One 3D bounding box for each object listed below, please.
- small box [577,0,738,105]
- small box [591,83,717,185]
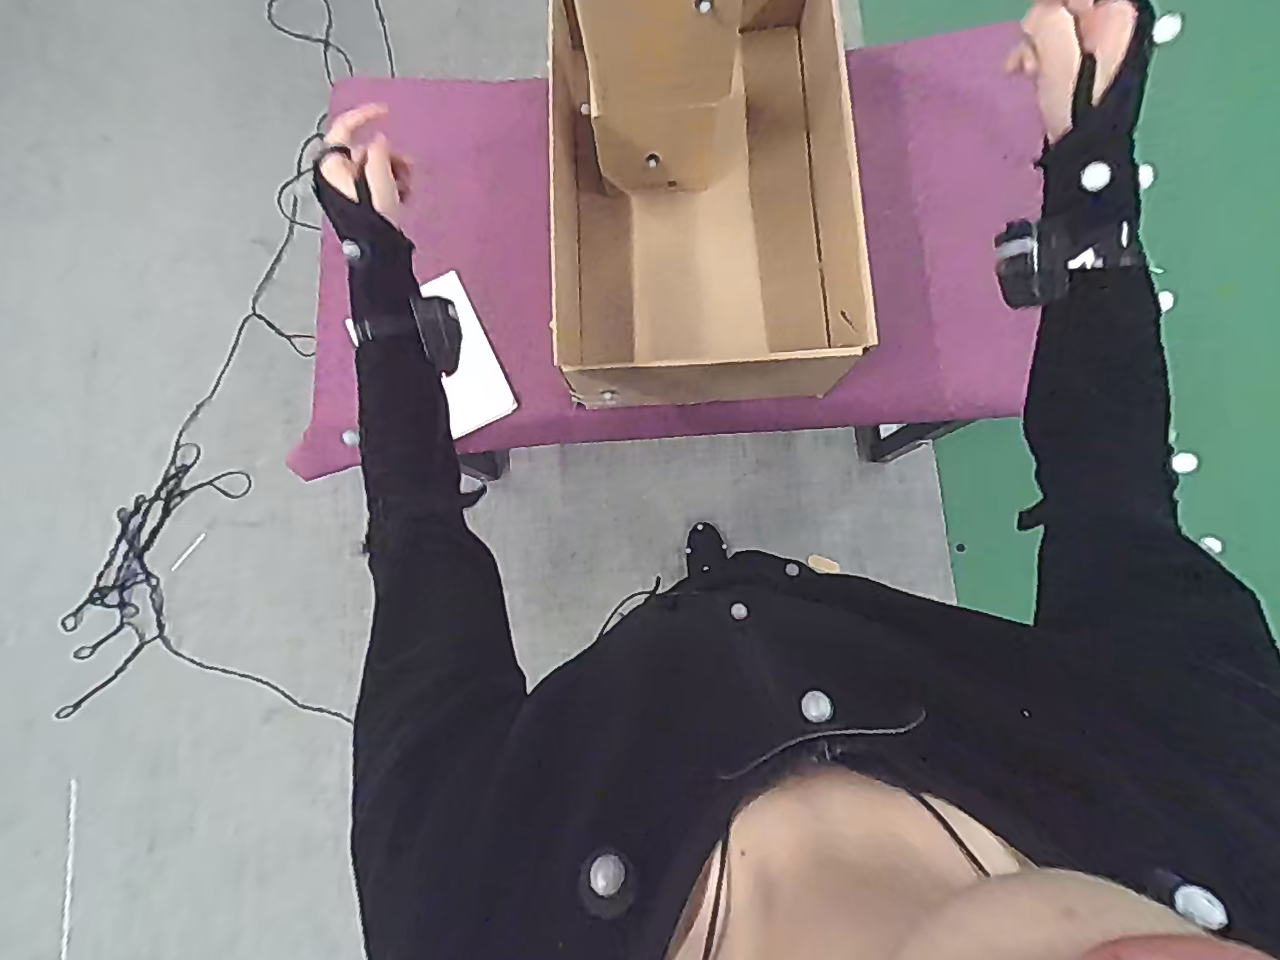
[{"bbox_3d":[0.017,-0.566,0.615,0.179,0.176,0.168,-5,83,3],"label":"small box"},{"bbox_3d":[0.023,-0.550,0.776,0.168,0.176,0.179,-2,83,4],"label":"small box"}]
